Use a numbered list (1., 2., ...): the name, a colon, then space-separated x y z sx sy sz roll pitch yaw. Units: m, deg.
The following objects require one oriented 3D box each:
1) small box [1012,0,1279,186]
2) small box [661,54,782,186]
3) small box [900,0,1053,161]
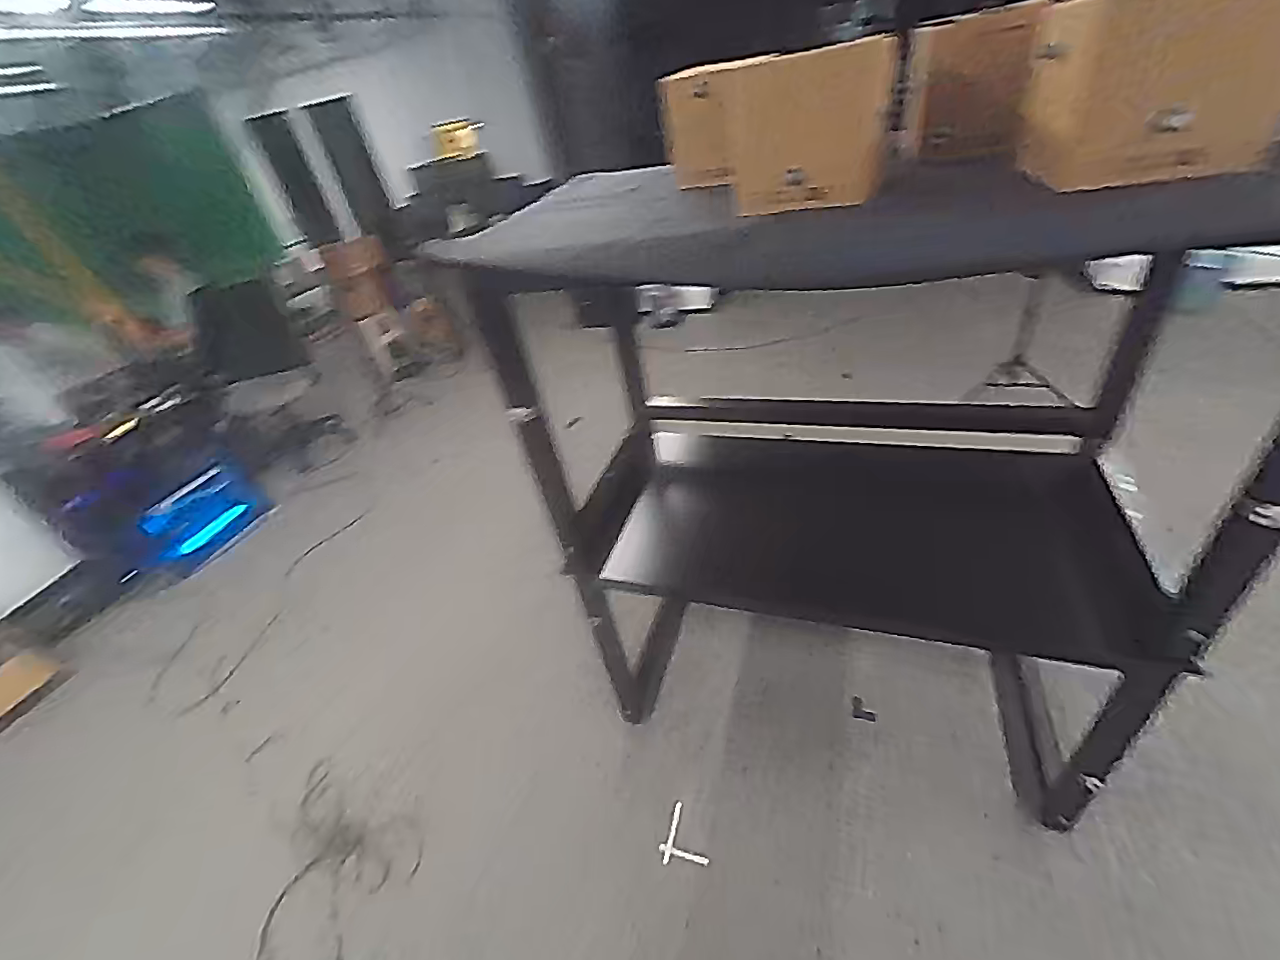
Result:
1. small box: 0.527 -0.425 0.578 0.168 0.176 0.179 1 37 18
2. small box: 0.153 -0.639 0.968 0.168 0.176 0.179 7 40 25
3. small box: 0.494 -0.593 0.813 0.168 0.176 0.179 3 38 19
